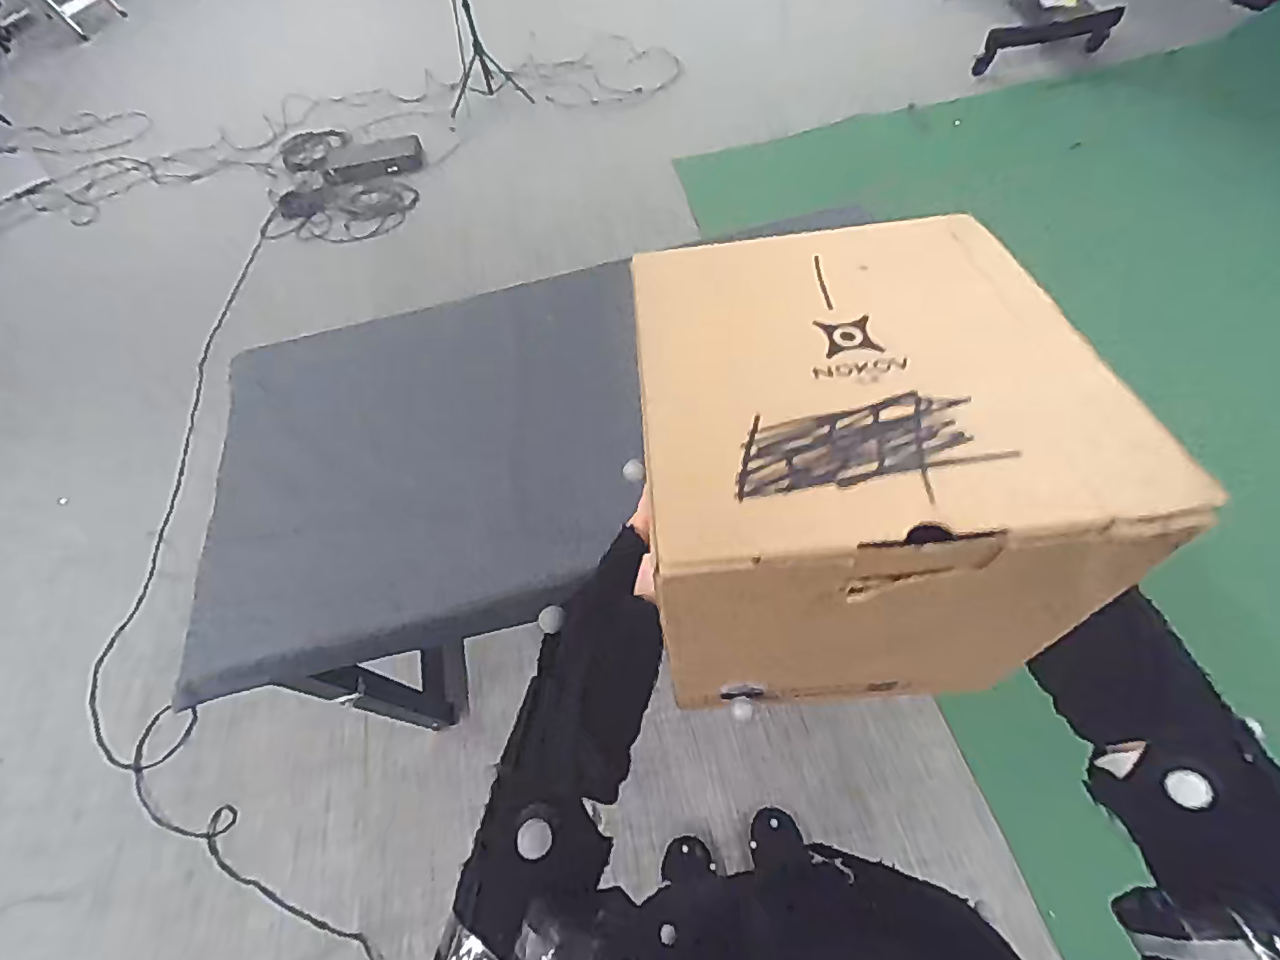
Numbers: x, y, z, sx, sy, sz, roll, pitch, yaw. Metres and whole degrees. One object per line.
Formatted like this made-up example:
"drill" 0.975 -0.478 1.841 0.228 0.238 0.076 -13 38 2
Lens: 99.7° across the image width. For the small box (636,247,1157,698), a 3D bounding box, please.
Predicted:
"small box" 0.088 0.008 0.287 0.168 0.176 0.179 -4 53 2
